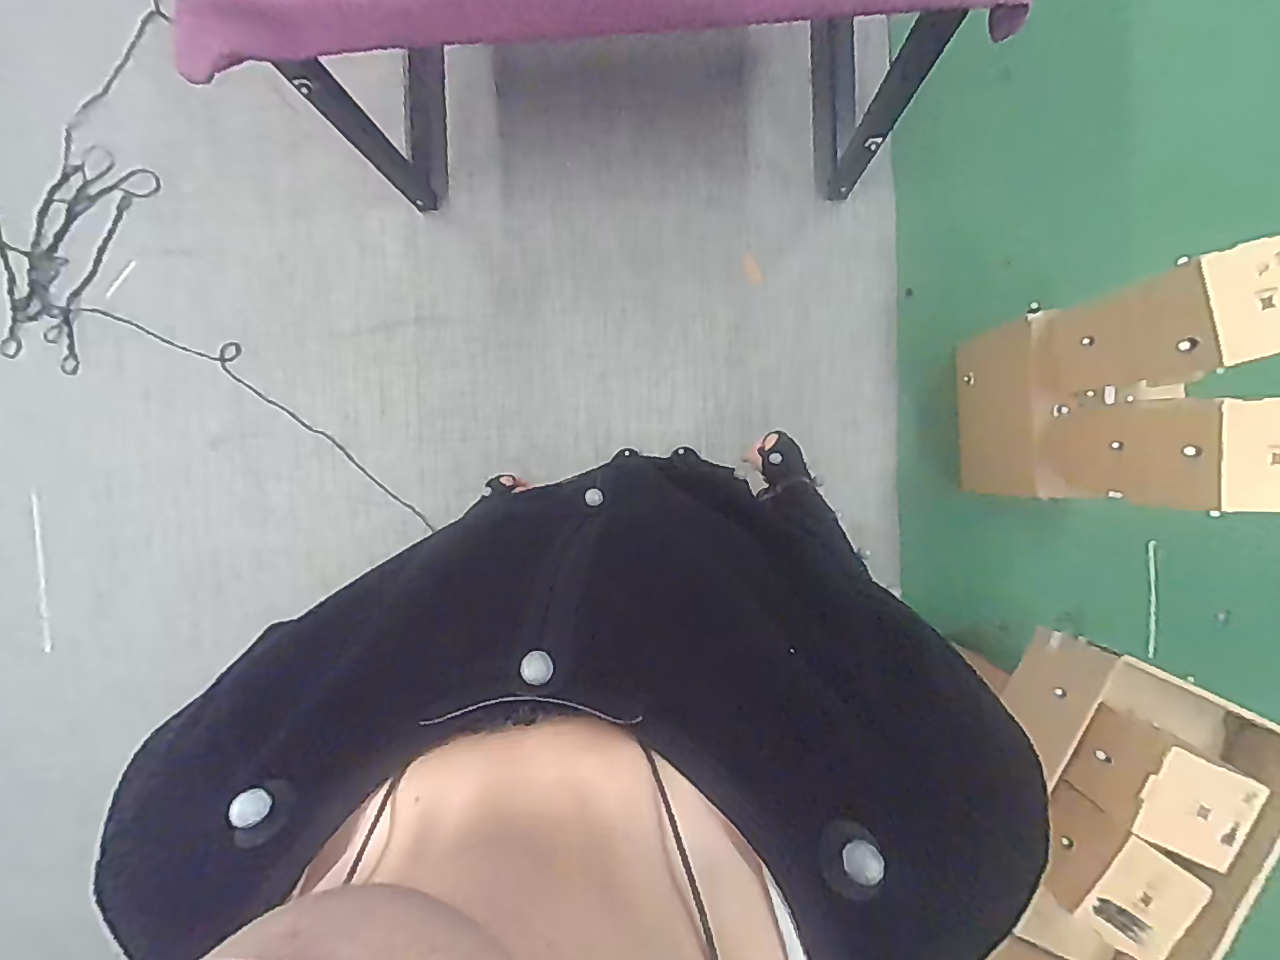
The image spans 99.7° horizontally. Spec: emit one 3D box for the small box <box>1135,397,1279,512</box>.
[{"bbox_3d":[0.975,-0.041,0.898,0.168,0.176,0.179,0,90,5],"label":"small box"}]
